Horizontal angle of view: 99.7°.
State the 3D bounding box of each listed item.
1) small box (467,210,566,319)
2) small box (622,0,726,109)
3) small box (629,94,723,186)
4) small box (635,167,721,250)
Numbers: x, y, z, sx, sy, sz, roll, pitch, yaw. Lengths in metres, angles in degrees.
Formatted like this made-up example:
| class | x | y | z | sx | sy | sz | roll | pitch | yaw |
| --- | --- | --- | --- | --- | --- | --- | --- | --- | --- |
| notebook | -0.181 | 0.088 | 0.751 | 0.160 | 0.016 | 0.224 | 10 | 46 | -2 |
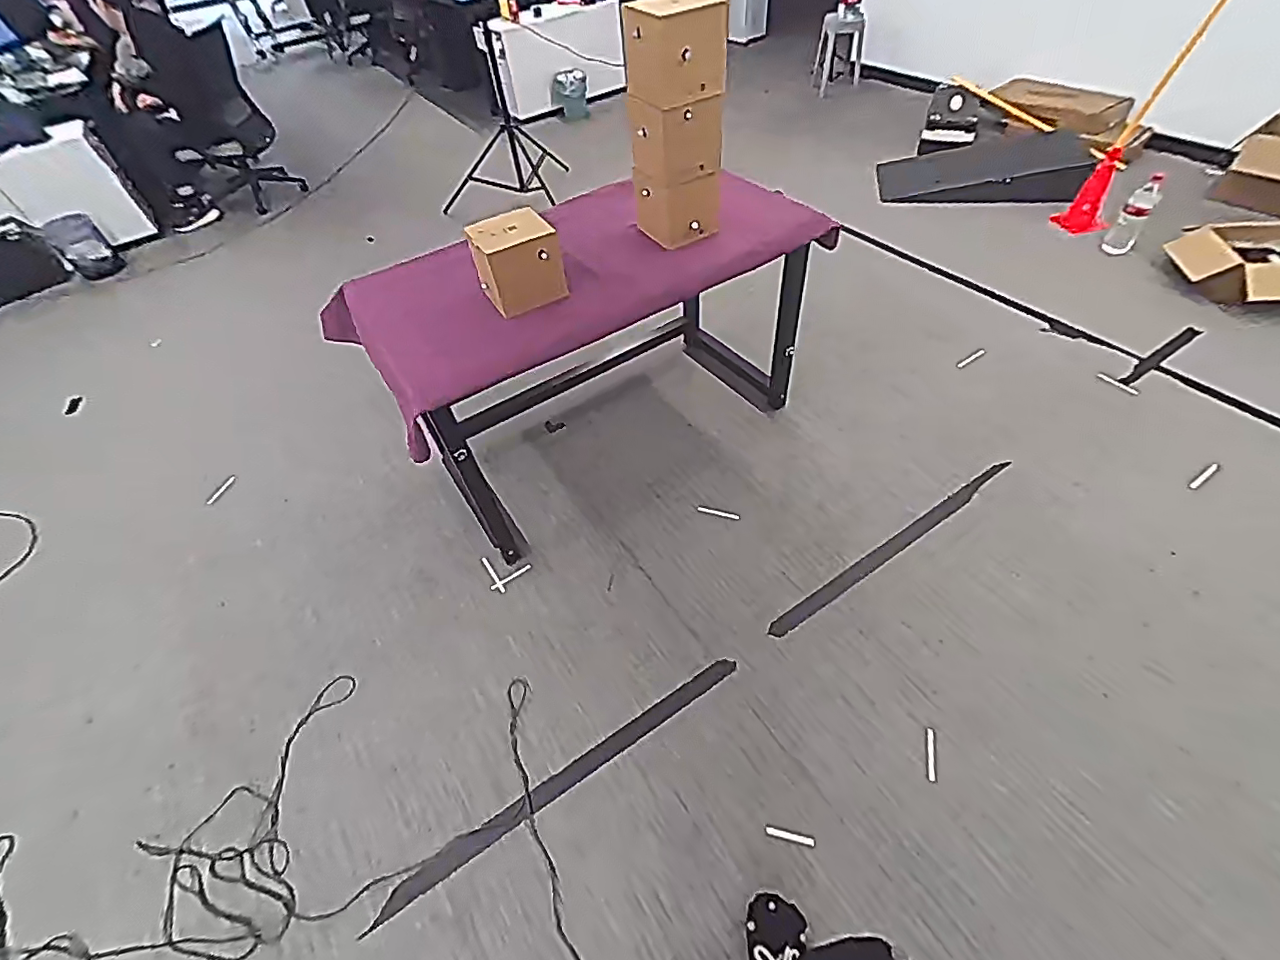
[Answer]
| class | x | y | z | sx | sy | sz | roll | pitch | yaw |
| --- | --- | --- | --- | --- | --- | --- | --- | --- | --- |
| small box | -0.294 | -0.527 | 1.327 | 0.179 | 0.176 | 0.168 | -27 | 52 | -15 |
| small box | 0.079 | -0.953 | 1.208 | 0.168 | 0.176 | 0.179 | -26 | 52 | -14 |
| small box | 0.090 | -0.854 | 1.338 | 0.168 | 0.176 | 0.179 | -26 | 52 | -13 |
| small box | 0.102 | -0.754 | 1.467 | 0.168 | 0.176 | 0.179 | -28 | 54 | -15 |
